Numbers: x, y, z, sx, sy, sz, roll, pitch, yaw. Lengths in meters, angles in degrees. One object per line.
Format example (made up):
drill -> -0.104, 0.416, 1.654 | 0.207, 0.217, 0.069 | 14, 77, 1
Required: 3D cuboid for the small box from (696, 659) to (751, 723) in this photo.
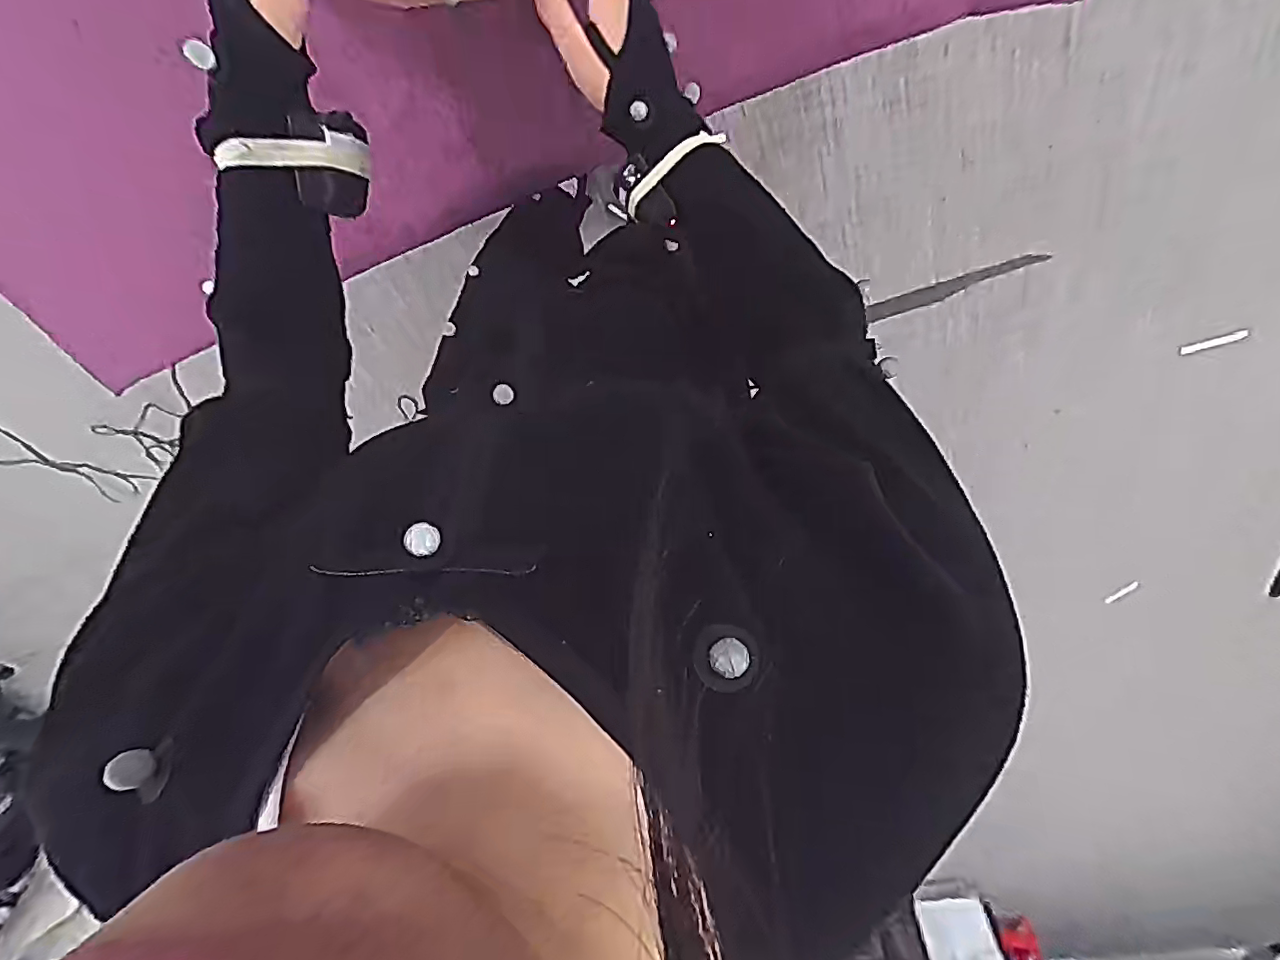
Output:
small box -> 0.351, 0.889, 2.280 | 0.168, 0.176, 0.179 | -26, 121, 17
